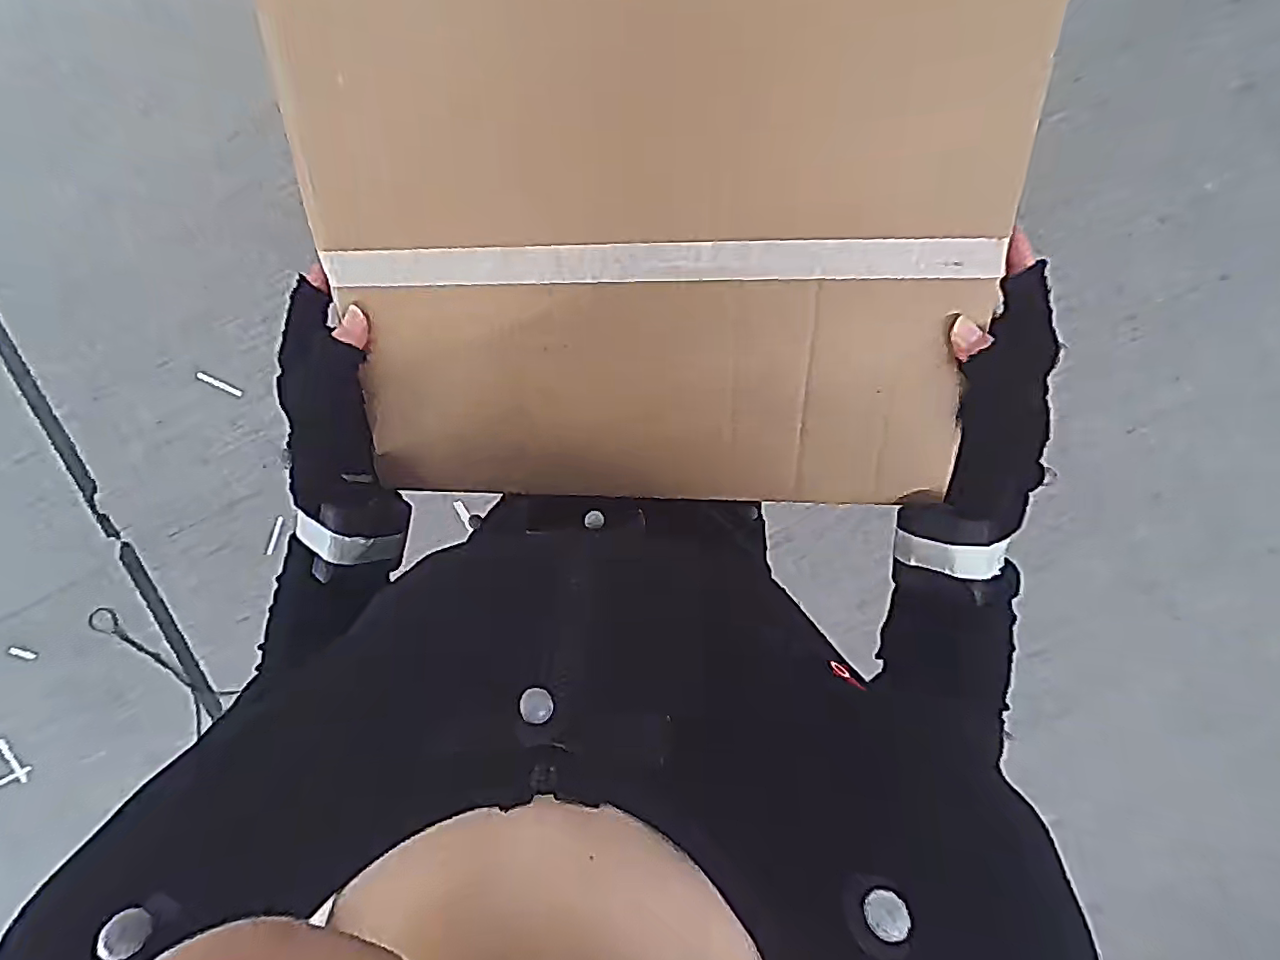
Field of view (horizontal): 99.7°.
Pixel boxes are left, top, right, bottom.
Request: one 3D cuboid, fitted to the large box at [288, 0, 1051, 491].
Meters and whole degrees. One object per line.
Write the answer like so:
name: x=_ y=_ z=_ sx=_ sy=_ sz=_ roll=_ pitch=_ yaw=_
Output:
large box: x=0.020 y=-0.197 z=0.470 sx=0.408 sy=0.320 sz=0.320 roll=2 pitch=117 yaw=5
